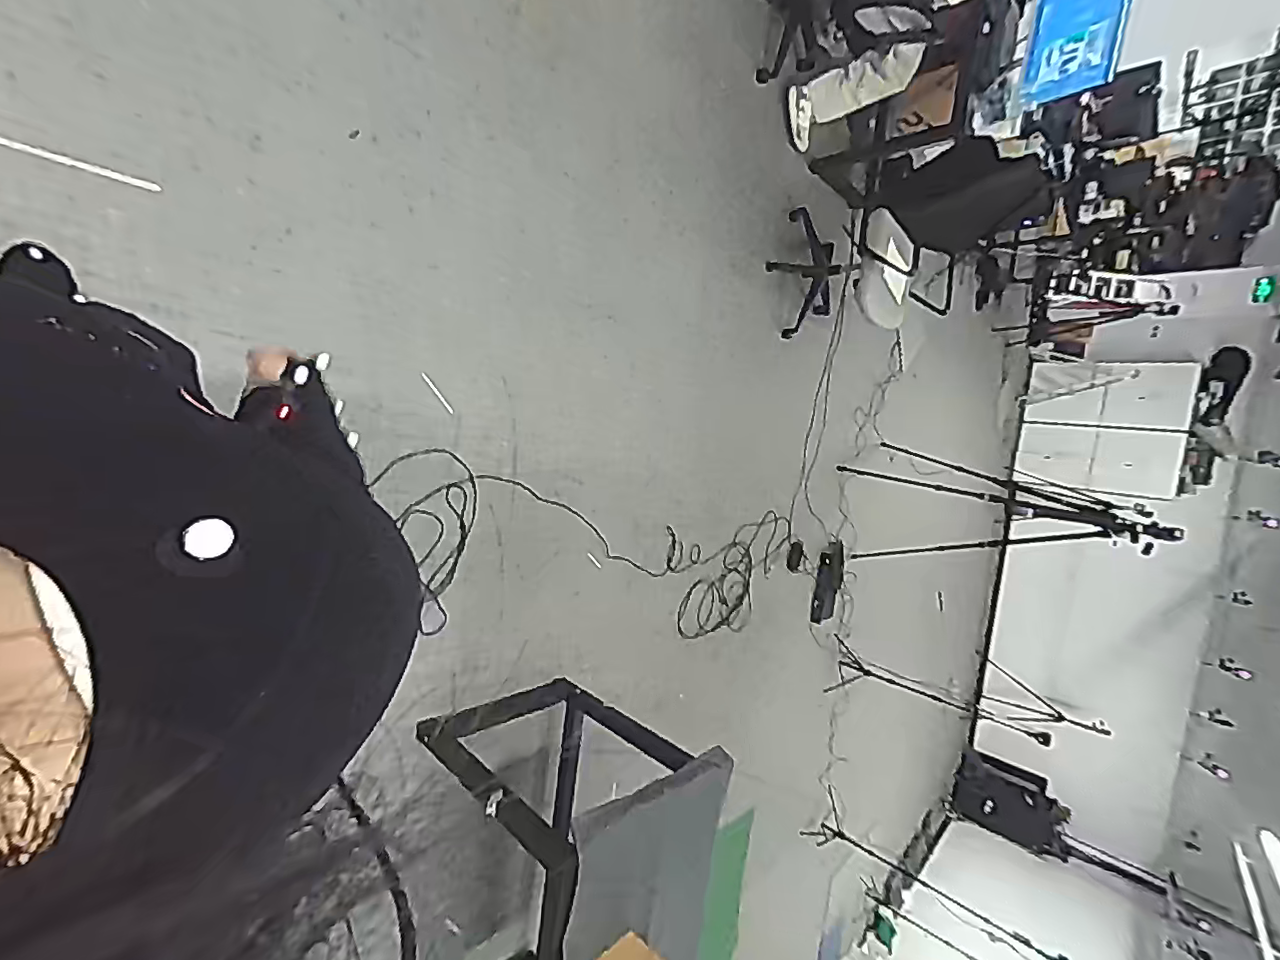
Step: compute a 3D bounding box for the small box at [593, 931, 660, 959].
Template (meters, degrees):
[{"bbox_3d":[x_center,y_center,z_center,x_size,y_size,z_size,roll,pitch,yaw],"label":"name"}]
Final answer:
[{"bbox_3d":[-0.031,1.212,1.251,0.179,0.176,0.168,3,96,-48],"label":"small box"}]
